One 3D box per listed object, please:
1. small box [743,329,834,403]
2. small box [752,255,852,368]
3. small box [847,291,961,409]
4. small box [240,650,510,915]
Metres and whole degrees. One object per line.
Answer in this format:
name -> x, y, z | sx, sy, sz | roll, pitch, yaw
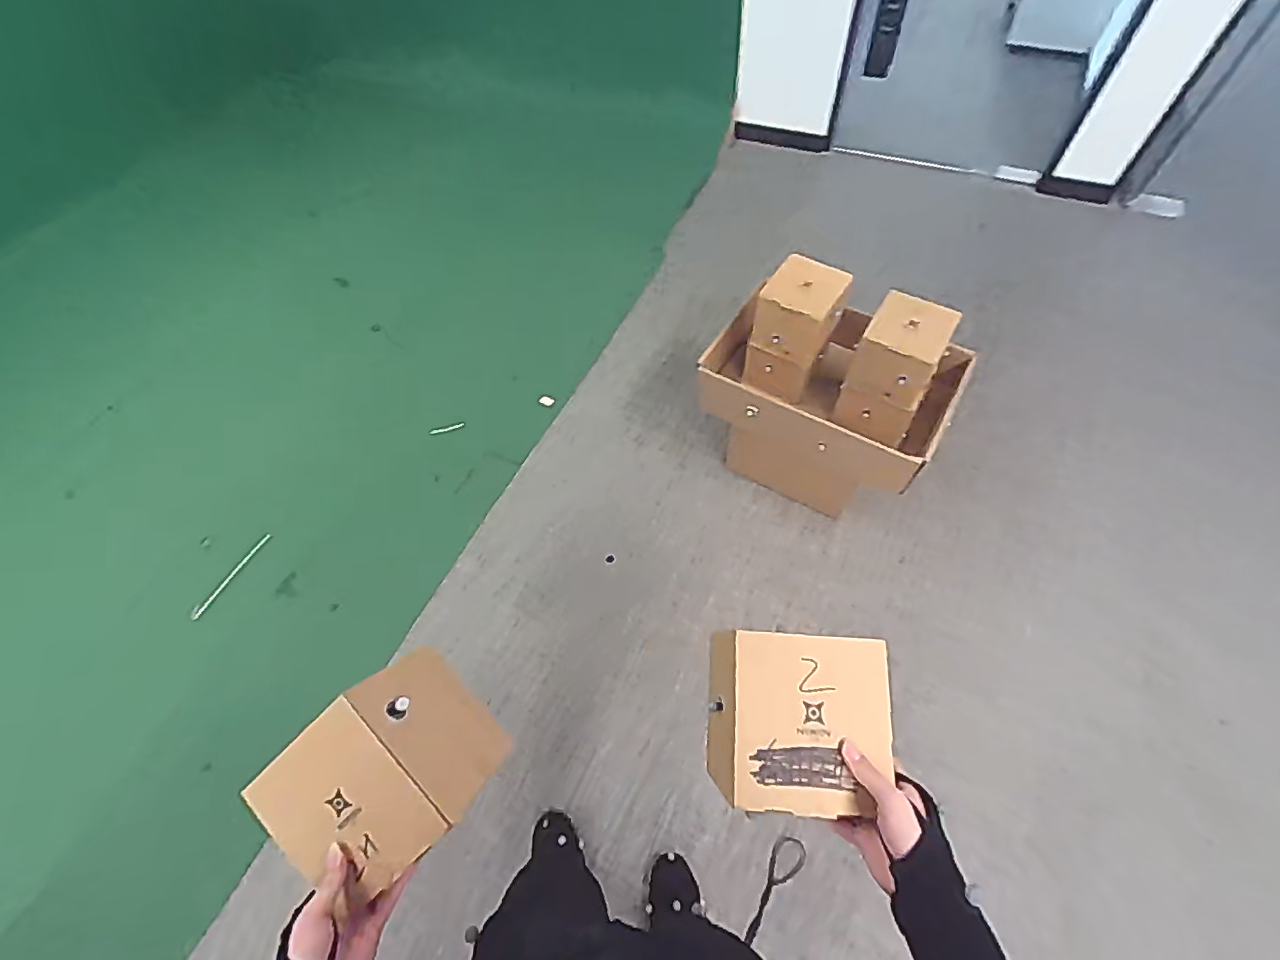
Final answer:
small box -> 0.402, -0.342, 1.494 | 0.179, 0.176, 0.168 | 30, 66, 19
small box -> 0.395, -0.418, 1.349 | 0.168, 0.176, 0.179 | 31, 67, 19
small box -> 0.604, -0.297, 1.261 | 0.168, 0.176, 0.179 | 29, 65, 18
small box -> -0.285, 0.318, 0.616 | 0.168, 0.176, 0.179 | -42, 85, 7
